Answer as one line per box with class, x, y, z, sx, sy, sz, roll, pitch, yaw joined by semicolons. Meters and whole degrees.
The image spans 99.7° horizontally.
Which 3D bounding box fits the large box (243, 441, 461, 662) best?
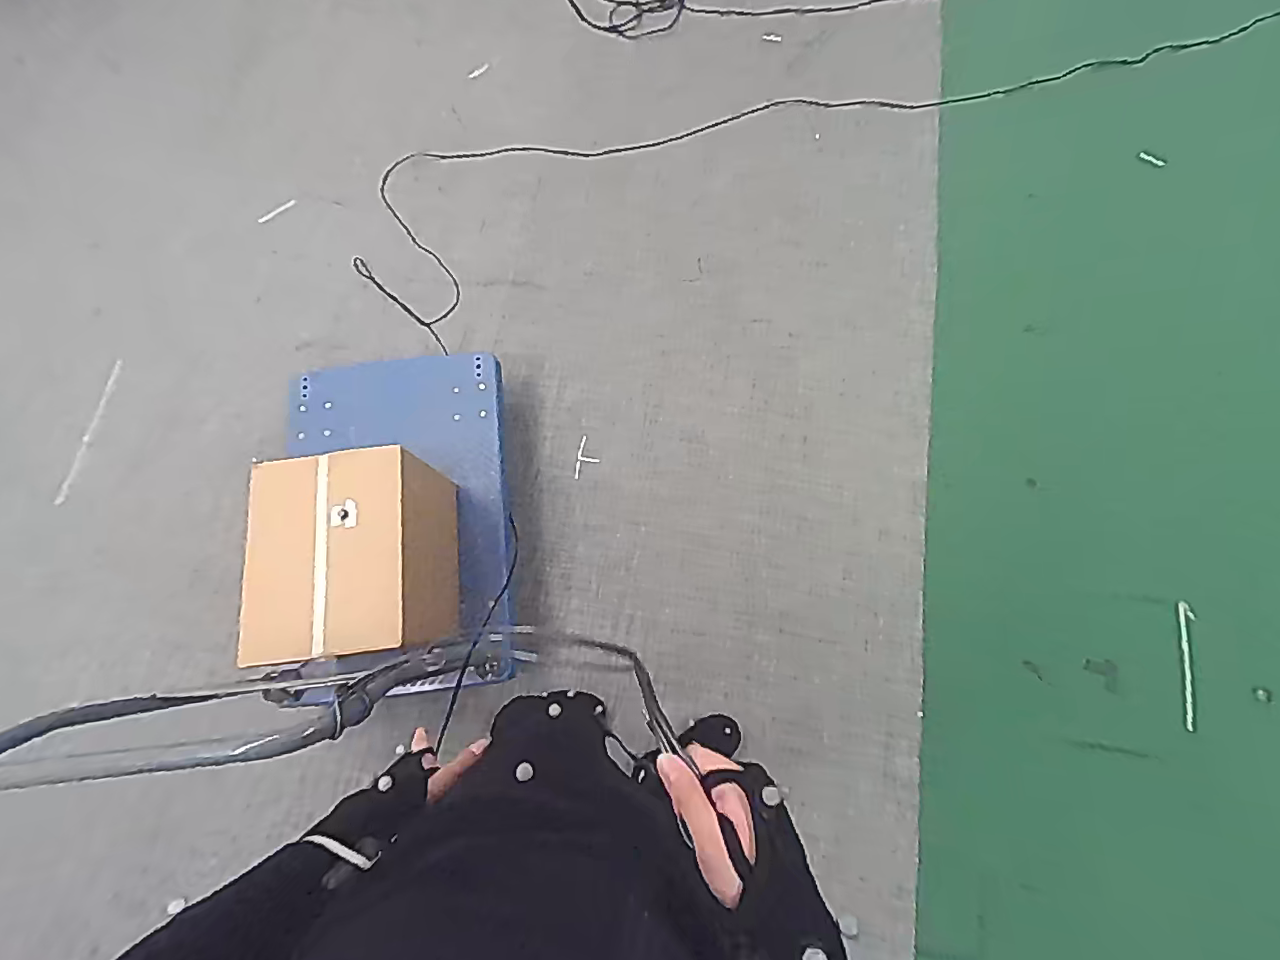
large box;-0.609;0.170;1.200;0.320;0.320;0.408;-7;74;0
